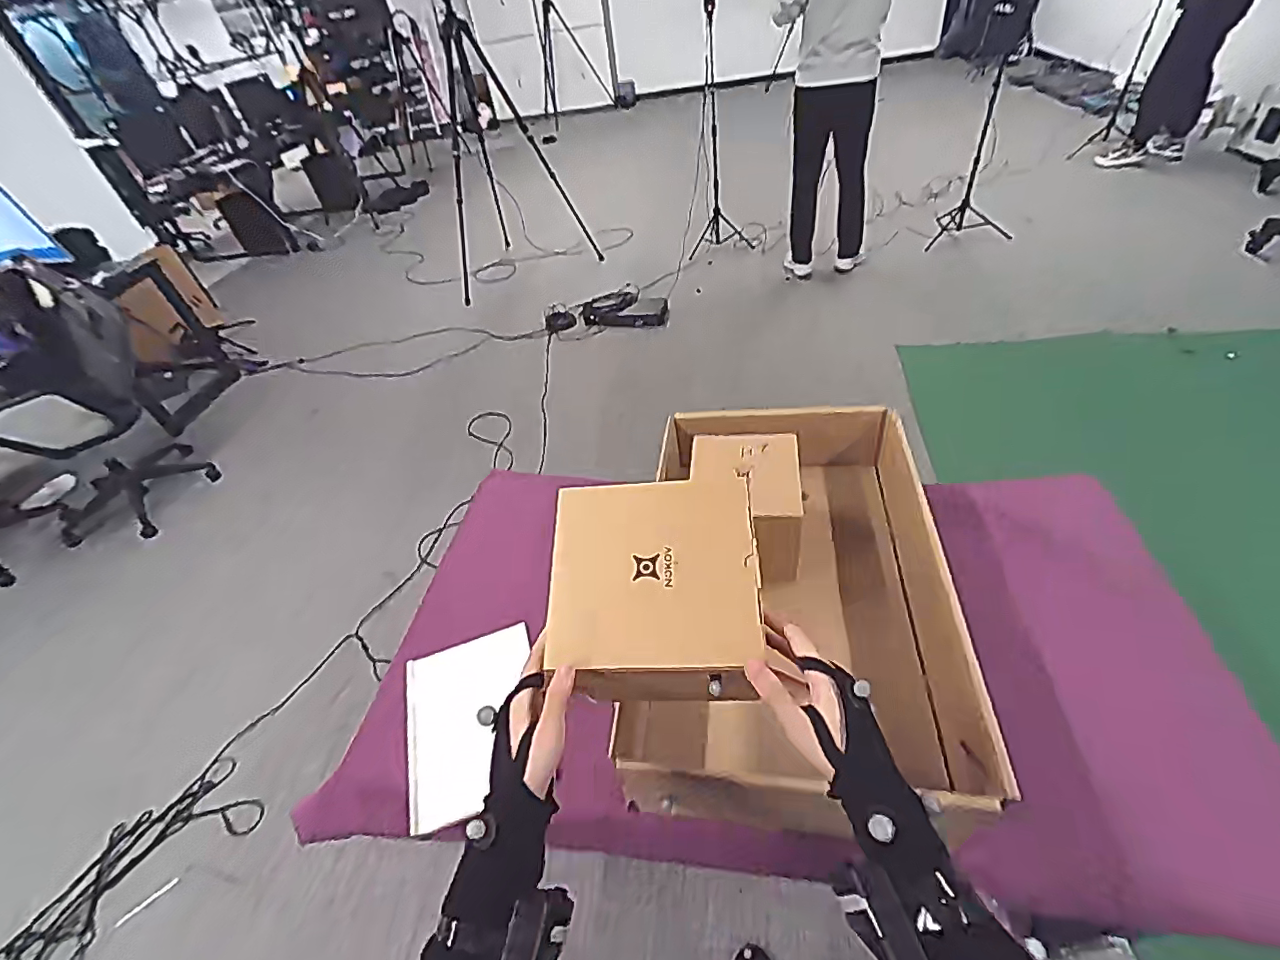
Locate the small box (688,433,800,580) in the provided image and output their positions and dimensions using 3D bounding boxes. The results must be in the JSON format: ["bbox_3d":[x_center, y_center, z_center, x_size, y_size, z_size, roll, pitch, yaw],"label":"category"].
[{"bbox_3d":[0.168,0.045,0.874,0.168,0.176,0.179,0,46,12],"label":"small box"}]

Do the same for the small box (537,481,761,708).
[{"bbox_3d":[0.019,0.118,0.516,0.179,0.176,0.168,-4,59,8],"label":"small box"}]
